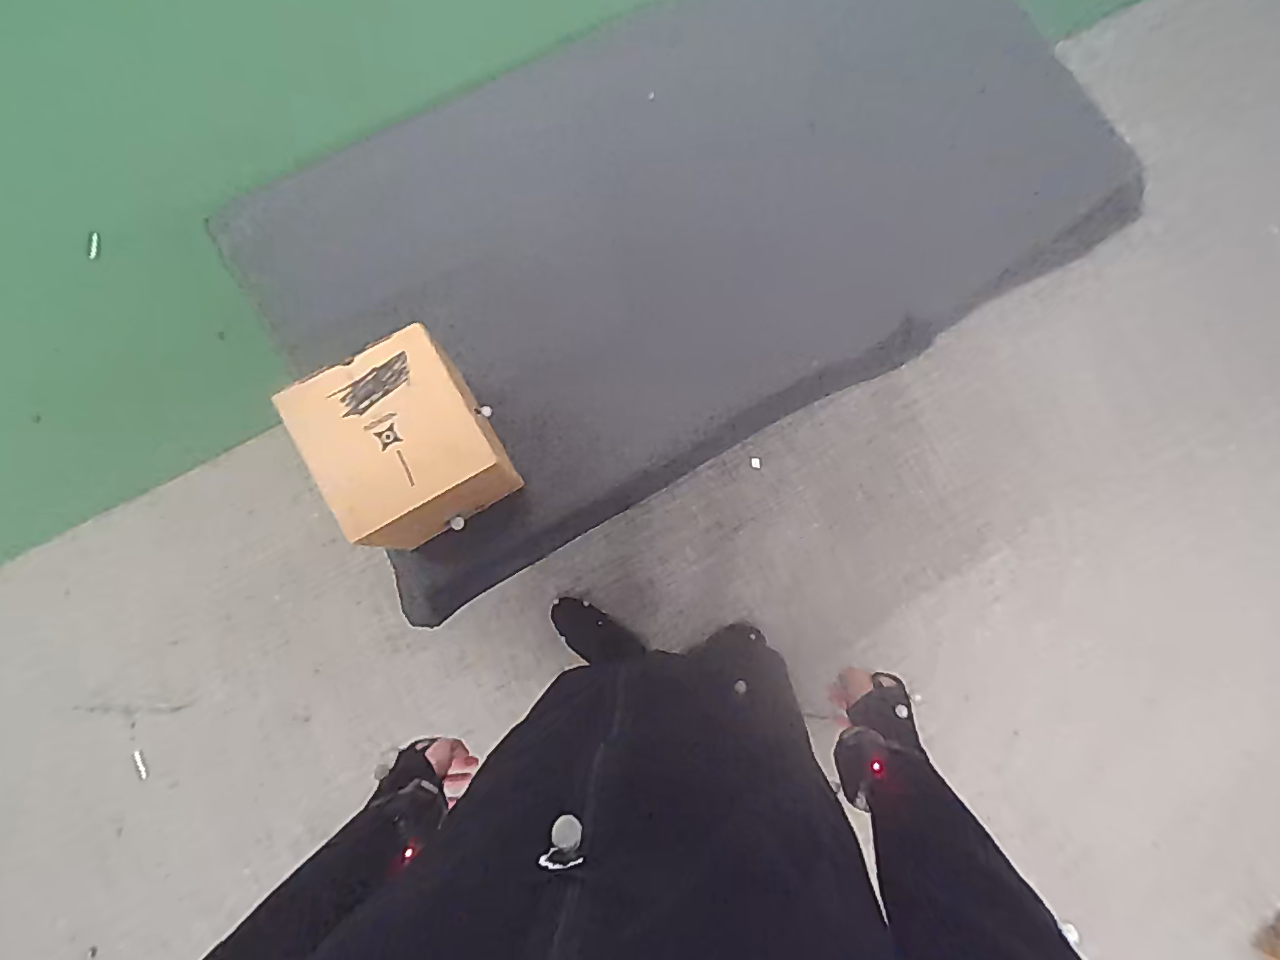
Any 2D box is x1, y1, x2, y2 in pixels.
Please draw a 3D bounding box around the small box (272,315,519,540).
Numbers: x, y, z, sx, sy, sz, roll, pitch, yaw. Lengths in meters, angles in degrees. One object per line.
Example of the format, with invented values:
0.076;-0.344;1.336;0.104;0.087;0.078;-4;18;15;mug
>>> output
-0.257;-0.046;0.613;0.168;0.176;0.179;-30;84;-7;small box
